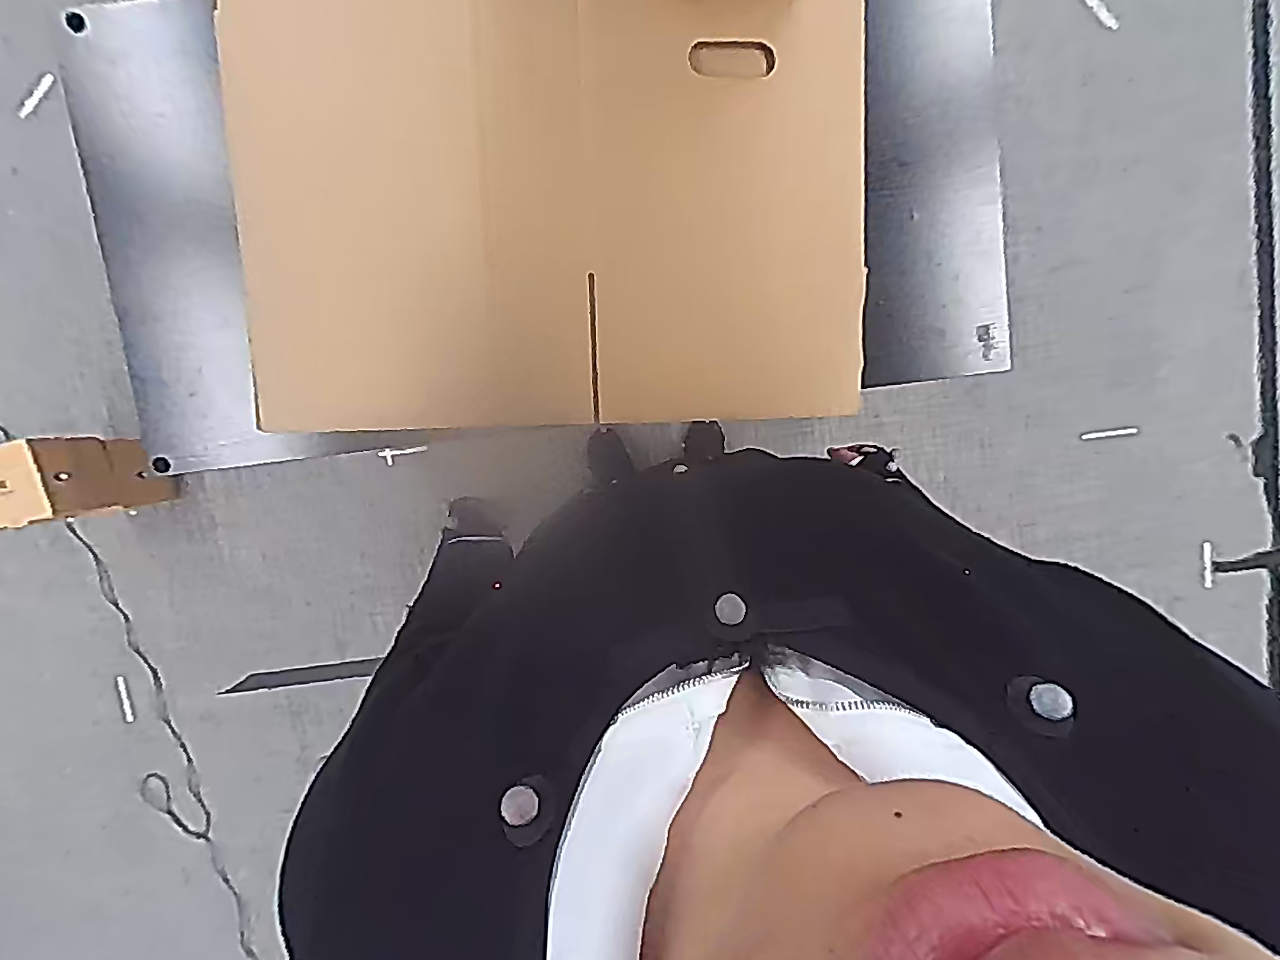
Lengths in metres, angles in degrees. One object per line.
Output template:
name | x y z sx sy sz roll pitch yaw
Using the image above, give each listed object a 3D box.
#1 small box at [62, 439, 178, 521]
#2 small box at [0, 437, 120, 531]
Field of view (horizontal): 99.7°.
small box | -1.356 -0.006 1.395 0.168 0.176 0.179 -11 97 0
small box | -1.354 0.005 1.232 0.168 0.176 0.179 -14 95 0
